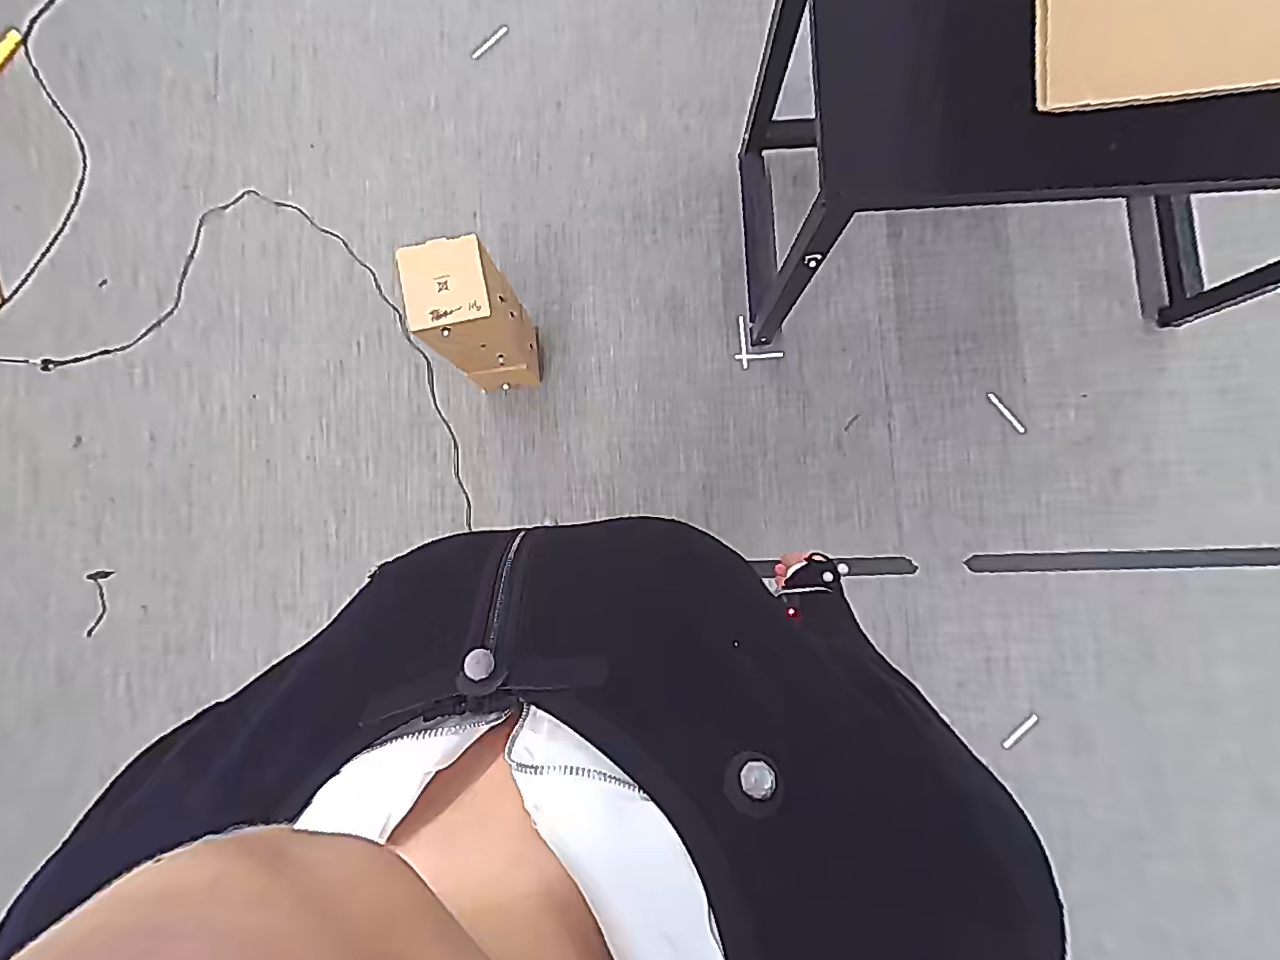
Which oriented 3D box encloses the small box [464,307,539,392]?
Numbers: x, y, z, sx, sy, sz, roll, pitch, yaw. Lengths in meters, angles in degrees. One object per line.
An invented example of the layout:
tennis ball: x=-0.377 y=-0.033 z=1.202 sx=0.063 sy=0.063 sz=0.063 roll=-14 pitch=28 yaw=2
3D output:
small box: x=-0.379 y=-0.351 z=1.477 sx=0.168 sy=0.176 sz=0.179 roll=-6 pitch=86 yaw=1

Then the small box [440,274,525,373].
small box: x=-0.385 y=-0.371 z=1.316 sx=0.168 sy=0.176 sz=0.179 roll=-9 pitch=84 yaw=0

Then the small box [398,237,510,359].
small box: x=-0.388 y=-0.380 z=1.152 sx=0.168 sy=0.176 sz=0.179 roll=-11 pitch=84 yaw=0
